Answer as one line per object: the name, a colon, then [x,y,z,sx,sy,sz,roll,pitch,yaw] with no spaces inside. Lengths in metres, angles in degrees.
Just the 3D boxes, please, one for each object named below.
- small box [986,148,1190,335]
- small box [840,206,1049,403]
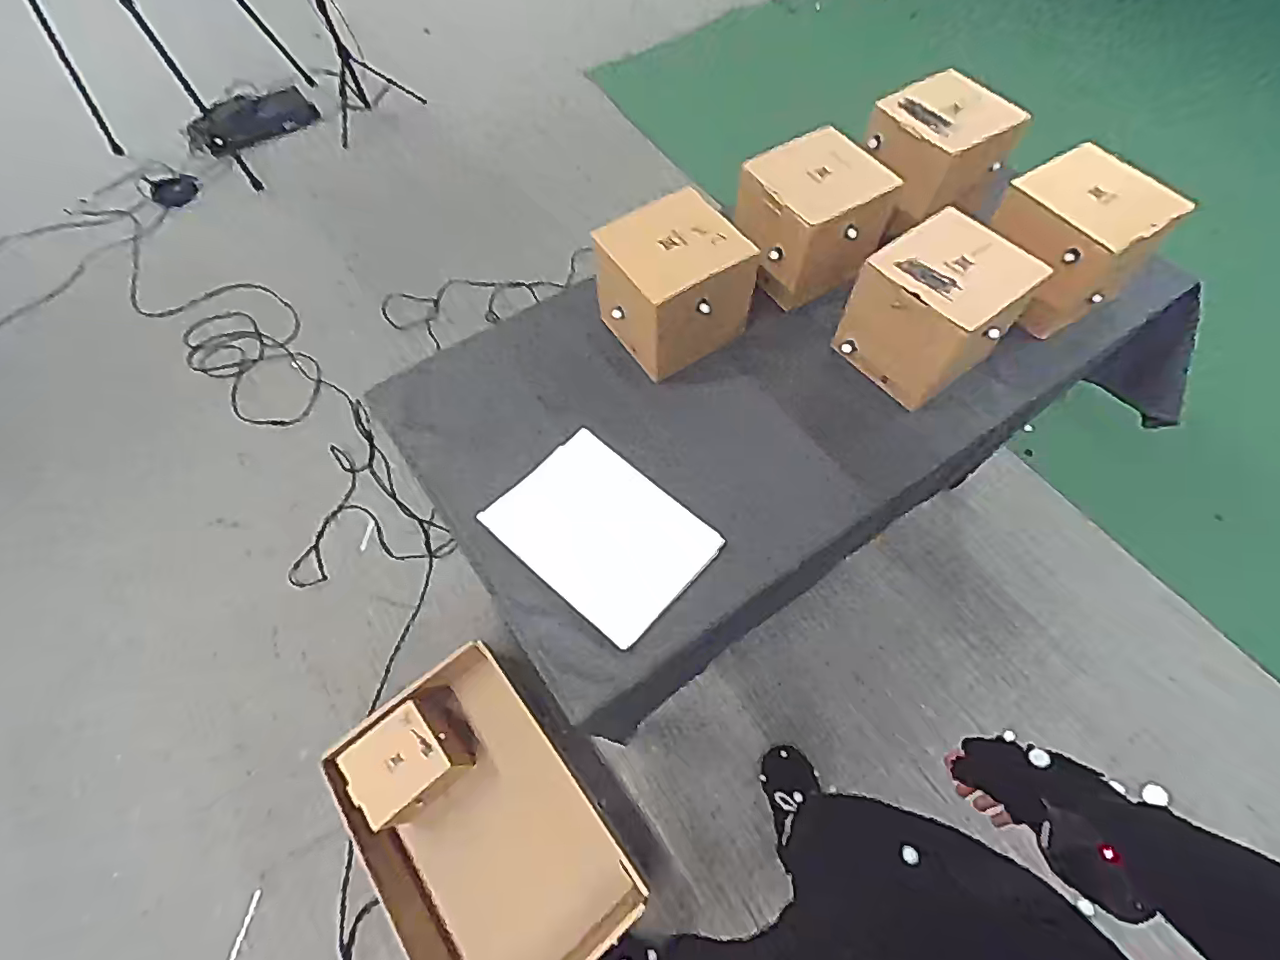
small box: [0.640,-0.358,0.825,0.168,0.176,0.179,-29,66,-12]
small box: [0.412,-0.242,0.770,0.179,0.176,0.168,-34,67,-15]
